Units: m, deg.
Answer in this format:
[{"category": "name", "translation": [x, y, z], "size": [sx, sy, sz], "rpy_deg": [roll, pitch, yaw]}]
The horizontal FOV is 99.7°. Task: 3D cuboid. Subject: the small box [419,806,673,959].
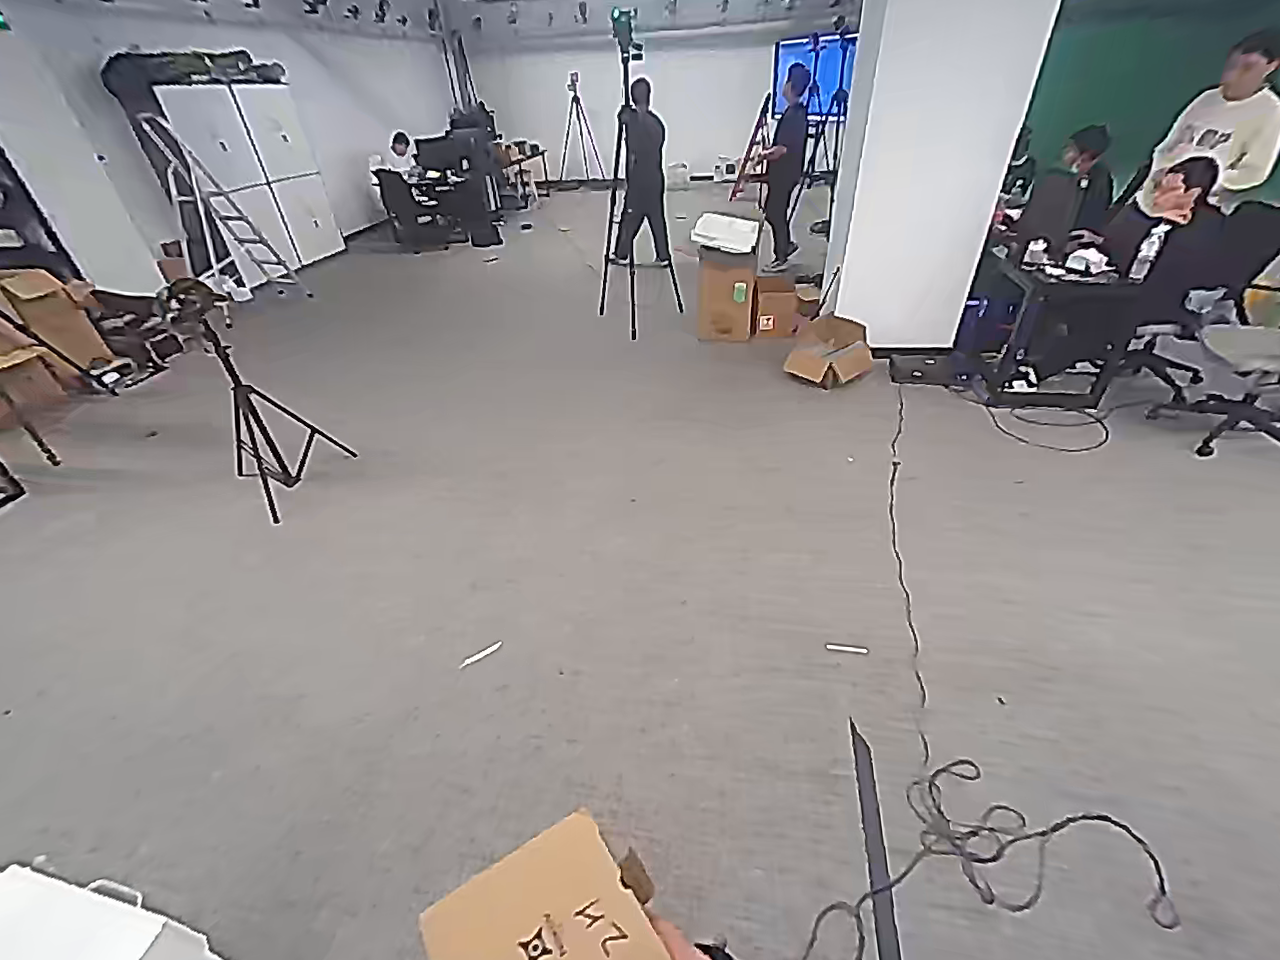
[{"category": "small box", "translation": [-0.084, 0.472, 0.515], "size": [0.179, 0.176, 0.168], "rpy_deg": [-20, 38, -30]}]
